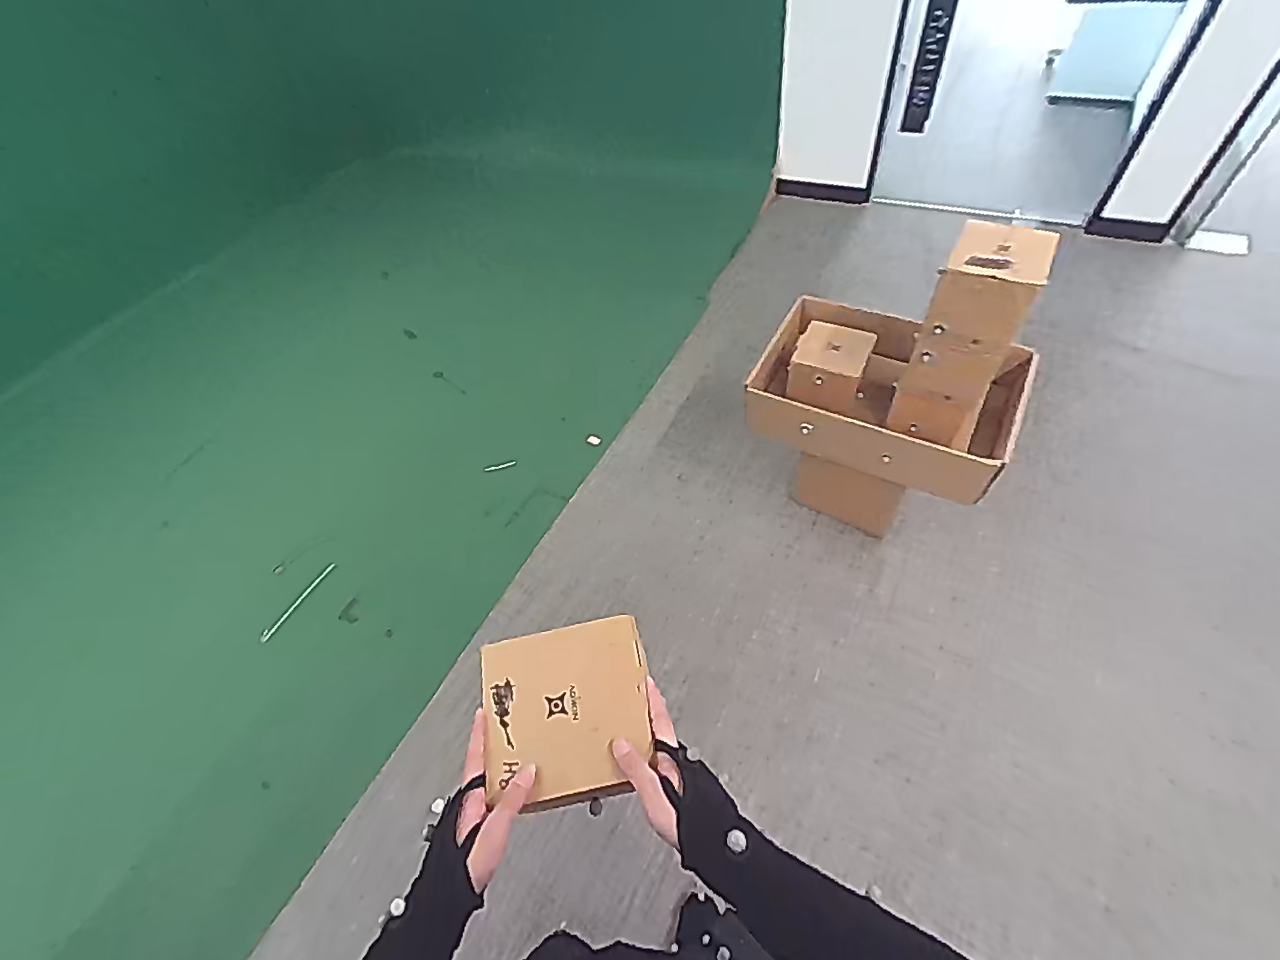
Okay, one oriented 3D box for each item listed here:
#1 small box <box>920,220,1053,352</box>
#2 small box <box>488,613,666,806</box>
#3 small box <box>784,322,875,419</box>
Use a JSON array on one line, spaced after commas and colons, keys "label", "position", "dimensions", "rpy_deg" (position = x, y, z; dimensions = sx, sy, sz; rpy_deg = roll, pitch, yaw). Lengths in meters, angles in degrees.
[{"label": "small box", "position": [0.688, -0.387, 1.089], "dimensions": [0.168, 0.176, 0.179], "rpy_deg": [23, 61, 22]}, {"label": "small box", "position": [-0.068, 0.273, 0.634], "dimensions": [0.179, 0.176, 0.168], "rpy_deg": [-11, 57, -1]}, {"label": "small box", "position": [0.503, -0.292, 1.457], "dimensions": [0.179, 0.176, 0.168], "rpy_deg": [22, 62, 21]}]
